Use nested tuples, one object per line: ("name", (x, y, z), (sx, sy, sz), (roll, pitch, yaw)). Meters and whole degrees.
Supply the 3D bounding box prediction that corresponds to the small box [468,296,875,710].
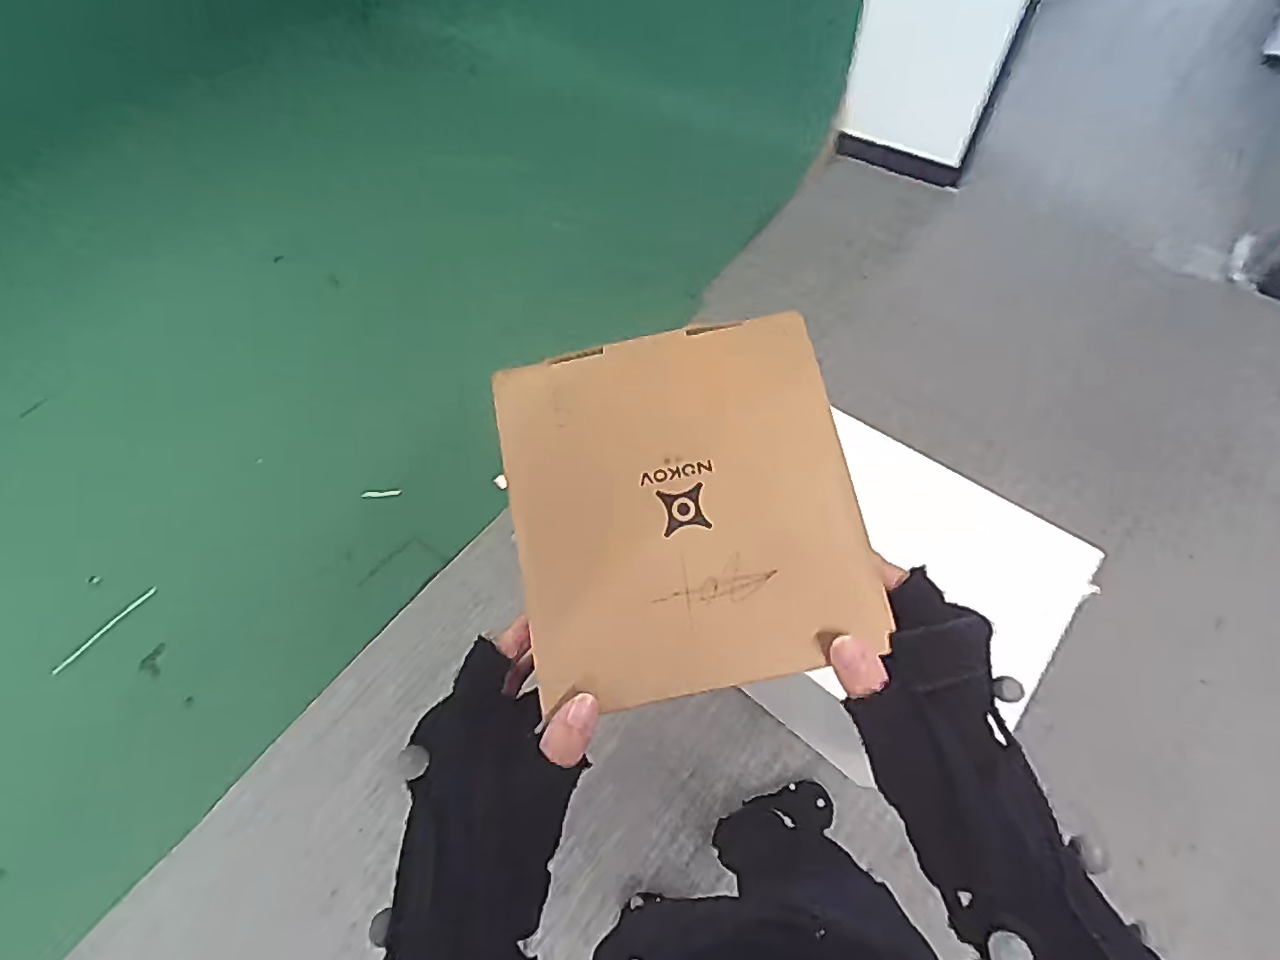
("small box", (0.010, 0.021, 0.332), (0.168, 0.176, 0.179), (-12, 78, -1))
